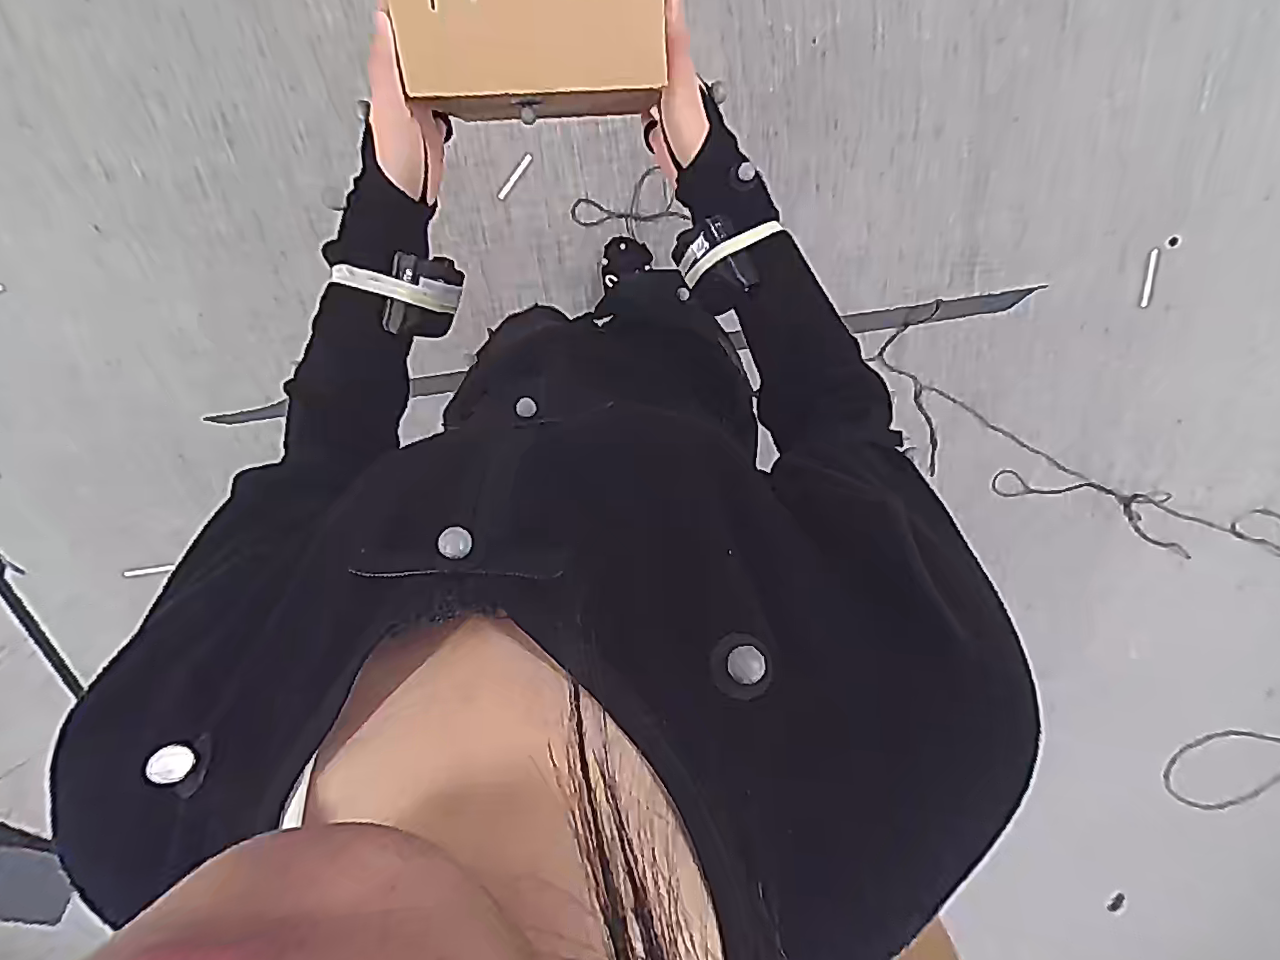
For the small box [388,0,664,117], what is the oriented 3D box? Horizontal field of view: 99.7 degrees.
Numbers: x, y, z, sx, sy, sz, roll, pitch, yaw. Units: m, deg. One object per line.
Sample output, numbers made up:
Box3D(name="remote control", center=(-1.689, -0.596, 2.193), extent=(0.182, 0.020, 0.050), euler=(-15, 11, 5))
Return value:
Box3D(name="small box", center=(-0.077, -0.371, 0.392), extent=(0.179, 0.176, 0.168), euler=(-4, 120, -2))
